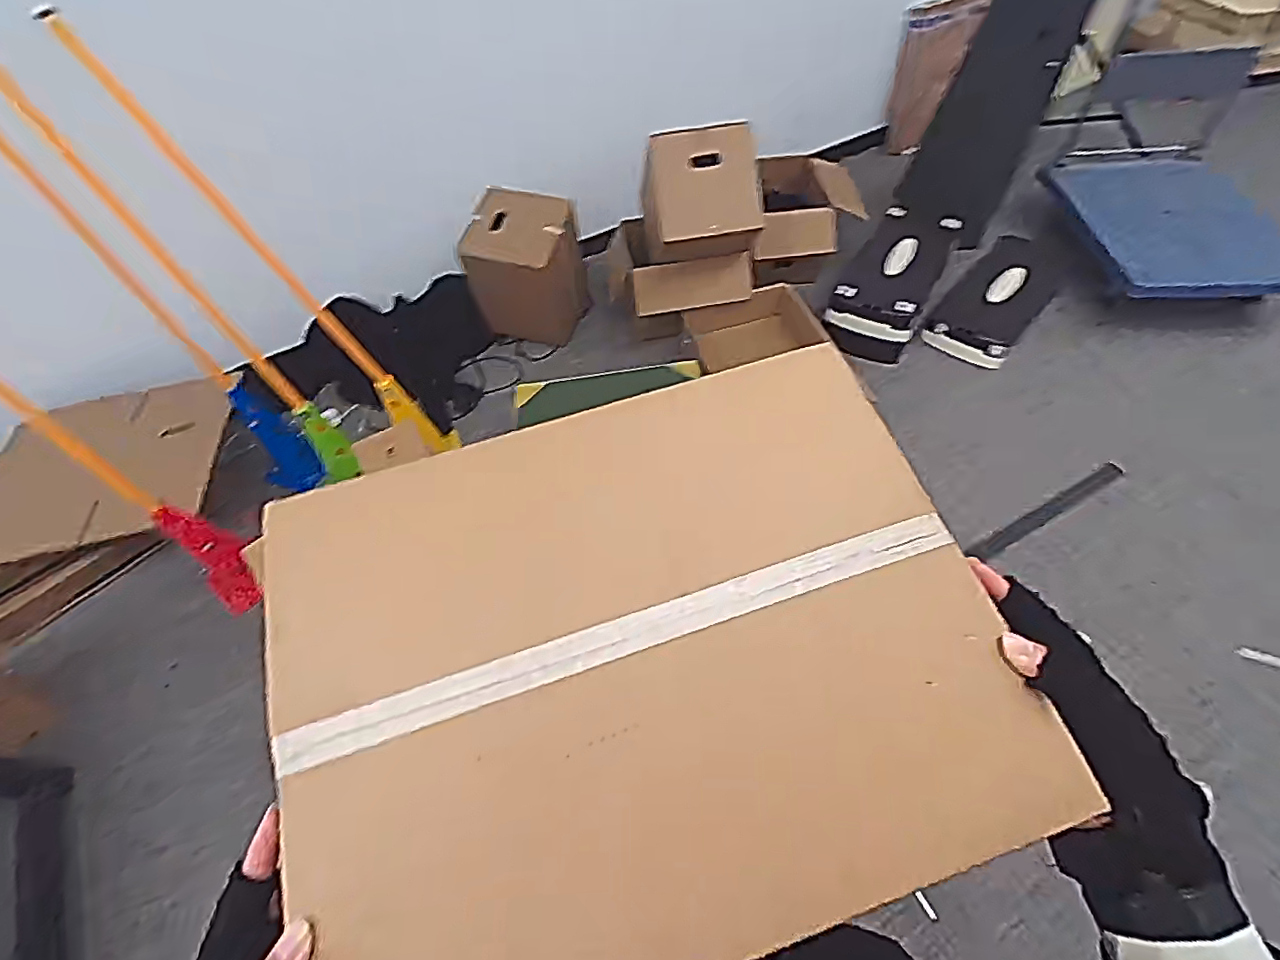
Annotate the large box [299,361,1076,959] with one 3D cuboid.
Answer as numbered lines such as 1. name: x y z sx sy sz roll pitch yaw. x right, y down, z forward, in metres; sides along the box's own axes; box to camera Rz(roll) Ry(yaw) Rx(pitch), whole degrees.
1. large box: 0.005 0.162 0.463 0.408 0.320 0.320 -17 66 -6
